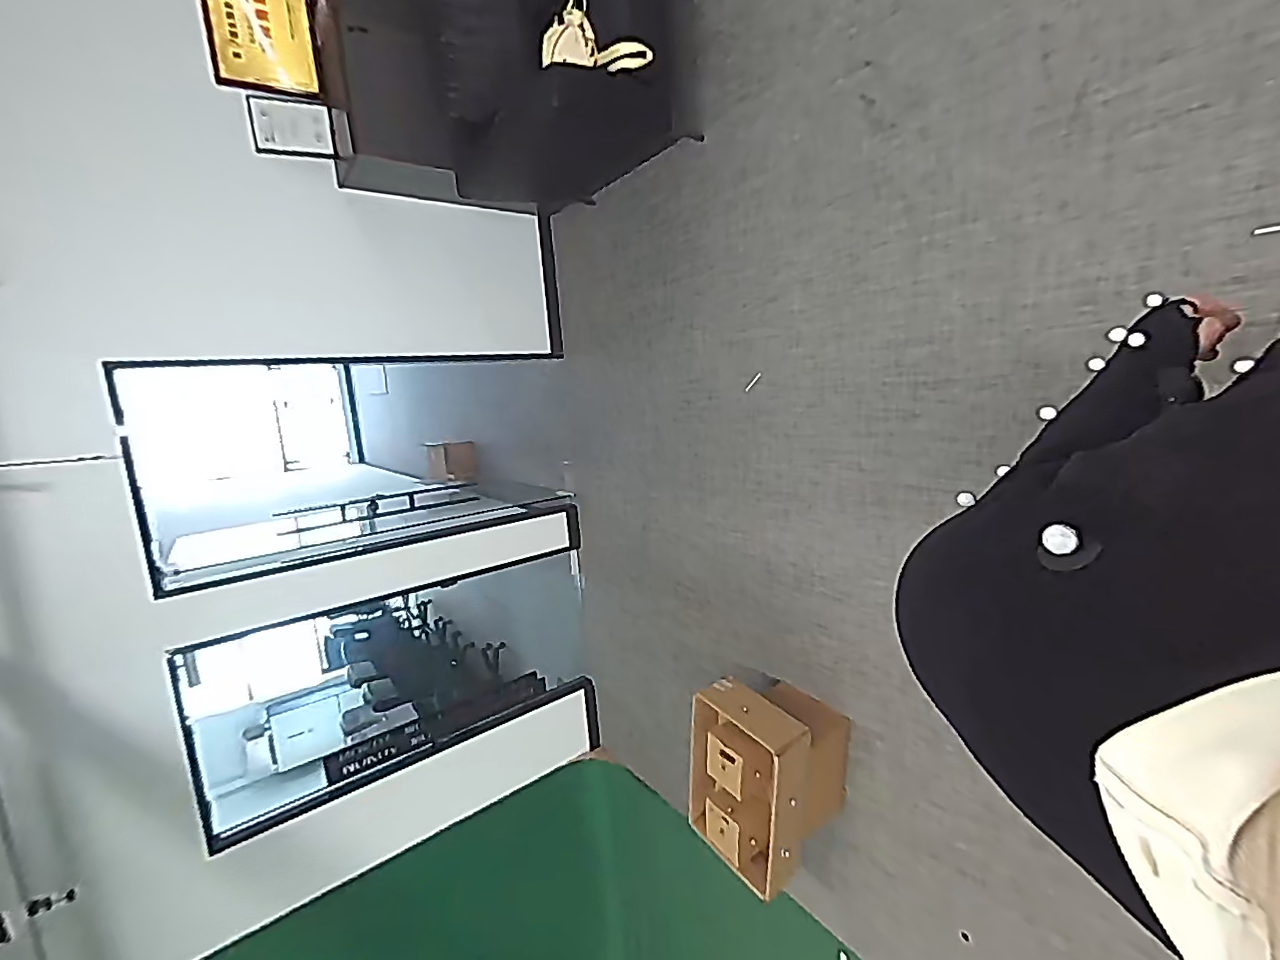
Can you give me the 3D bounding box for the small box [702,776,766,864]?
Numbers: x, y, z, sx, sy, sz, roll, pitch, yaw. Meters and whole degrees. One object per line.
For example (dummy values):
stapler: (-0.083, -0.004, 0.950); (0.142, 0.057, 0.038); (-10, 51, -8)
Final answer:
small box: (0.347, 1.241, 1.983); (0.168, 0.176, 0.179); (15, 111, 51)
